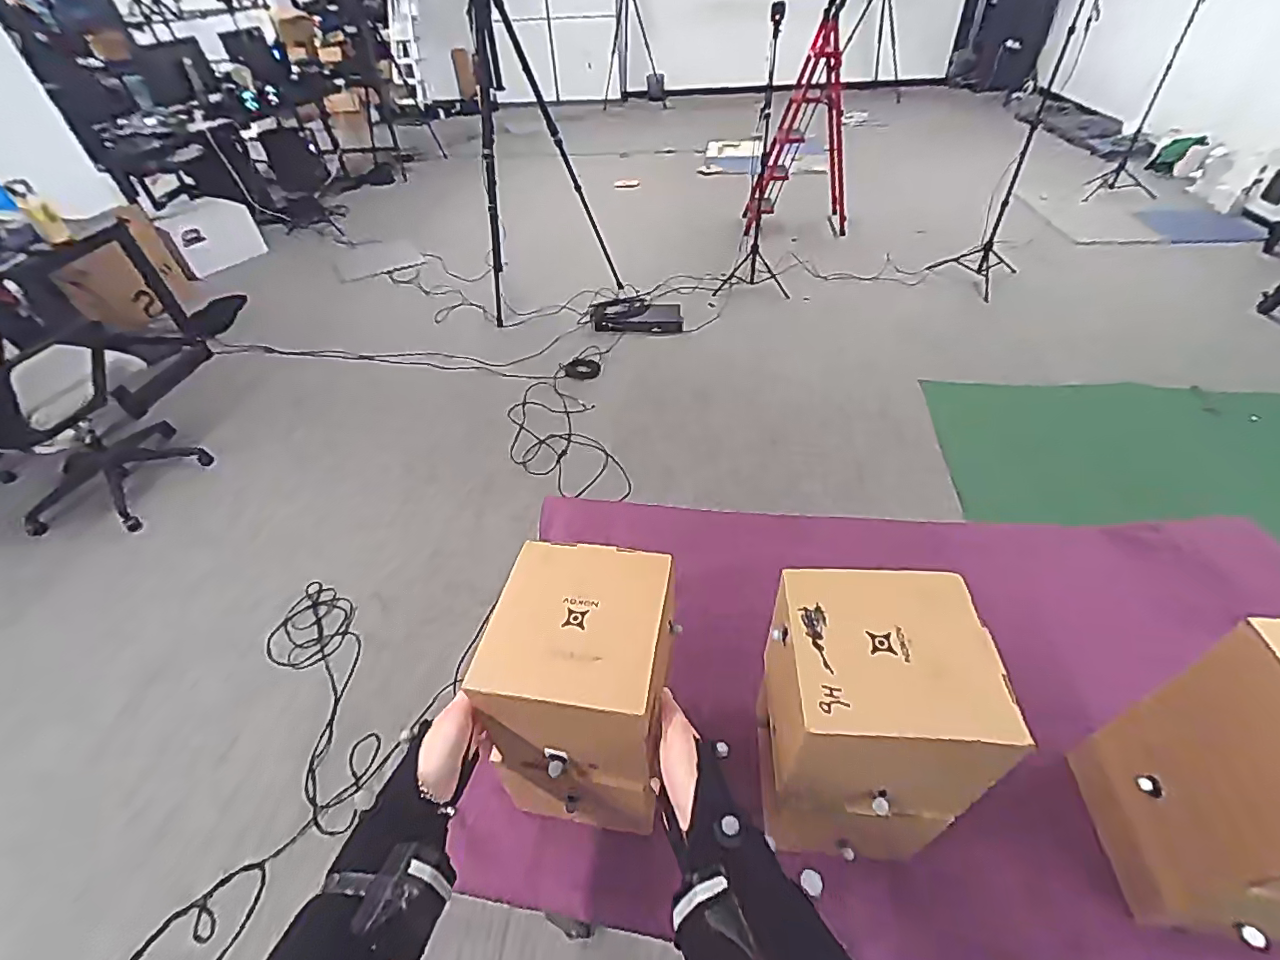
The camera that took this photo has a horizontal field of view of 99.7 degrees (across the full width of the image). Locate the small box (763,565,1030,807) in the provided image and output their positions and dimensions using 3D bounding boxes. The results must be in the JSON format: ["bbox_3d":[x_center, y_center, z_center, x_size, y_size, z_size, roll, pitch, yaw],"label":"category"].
[{"bbox_3d":[0.227,0.205,0.537,0.179,0.176,0.168,2,42,4],"label":"small box"}]

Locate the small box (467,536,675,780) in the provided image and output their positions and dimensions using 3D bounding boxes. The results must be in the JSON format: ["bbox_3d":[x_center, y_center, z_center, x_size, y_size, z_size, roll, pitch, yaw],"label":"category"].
[{"bbox_3d":[-0.056,0.186,0.575,0.168,0.176,0.179,5,44,9],"label":"small box"}]

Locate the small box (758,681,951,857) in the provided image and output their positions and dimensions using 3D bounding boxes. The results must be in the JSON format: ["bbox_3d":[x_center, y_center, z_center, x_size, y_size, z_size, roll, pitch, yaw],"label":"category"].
[{"bbox_3d":[0.236,0.323,0.651,0.168,0.176,0.179,1,44,6],"label":"small box"}]

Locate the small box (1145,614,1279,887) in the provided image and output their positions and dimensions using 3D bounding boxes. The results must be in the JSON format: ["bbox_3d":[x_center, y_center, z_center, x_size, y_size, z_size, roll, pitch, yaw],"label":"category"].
[{"bbox_3d":[0.618,0.243,0.478,0.168,0.176,0.179,2,44,6],"label":"small box"}]

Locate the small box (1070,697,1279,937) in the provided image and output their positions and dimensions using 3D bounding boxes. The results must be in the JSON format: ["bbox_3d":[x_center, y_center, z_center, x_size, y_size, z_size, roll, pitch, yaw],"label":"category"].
[{"bbox_3d":[0.624,0.363,0.587,0.168,0.176,0.179,2,45,7],"label":"small box"}]
